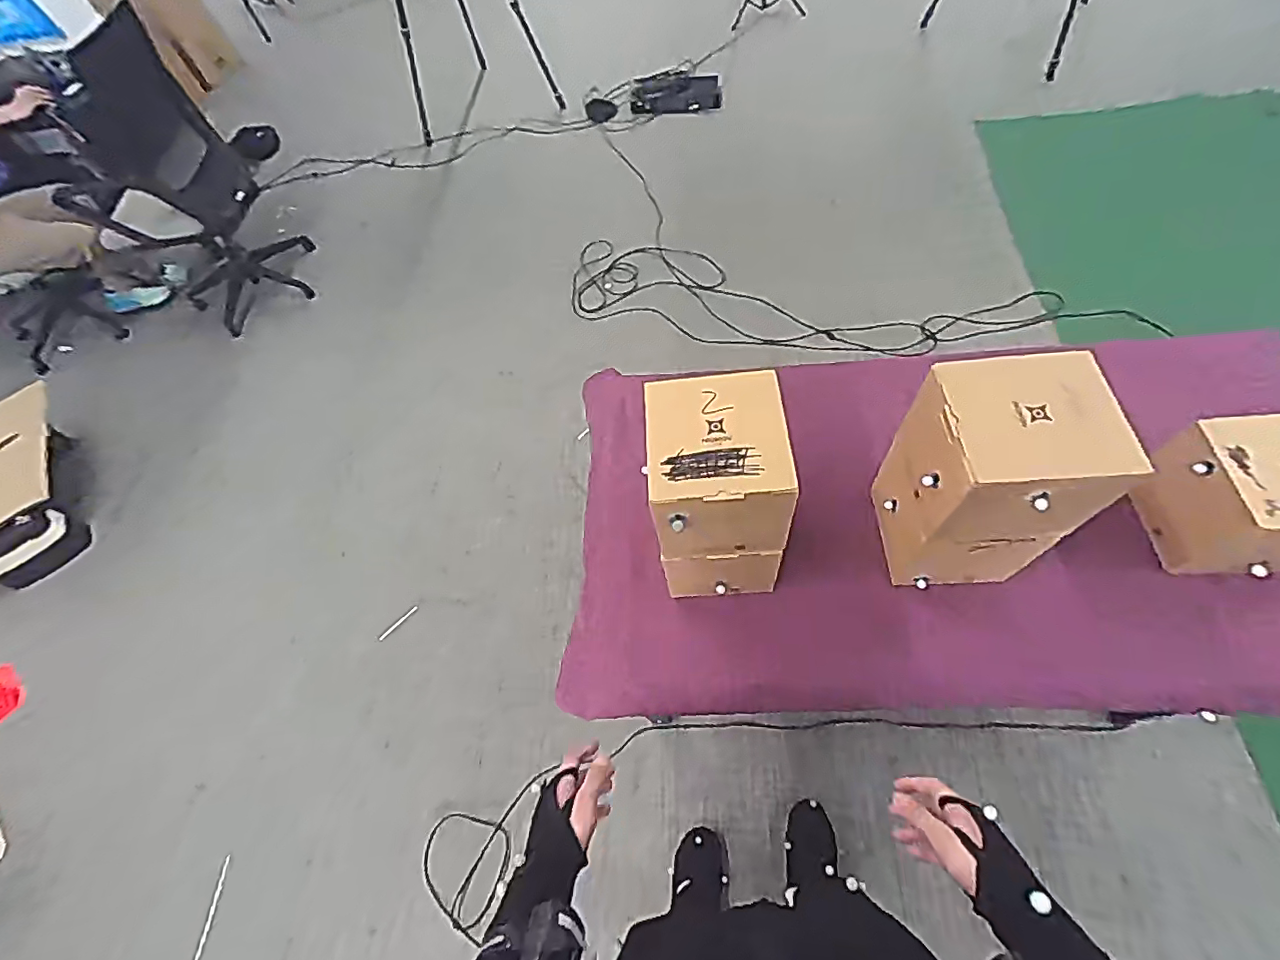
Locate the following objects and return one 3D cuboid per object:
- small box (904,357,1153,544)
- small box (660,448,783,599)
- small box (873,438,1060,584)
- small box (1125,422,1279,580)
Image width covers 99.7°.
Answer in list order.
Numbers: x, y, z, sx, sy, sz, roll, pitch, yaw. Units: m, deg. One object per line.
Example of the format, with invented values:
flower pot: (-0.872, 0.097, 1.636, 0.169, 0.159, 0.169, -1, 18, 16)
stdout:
small box: (0.443, -0.027, 0.660, 0.179, 0.176, 0.168, -3, 61, 6)
small box: (0.120, 0.071, 0.838, 0.168, 0.176, 0.179, -4, 60, 6)
small box: (0.464, 0.050, 0.802, 0.168, 0.176, 0.179, -3, 59, 6)
small box: (0.851, 0.035, 0.755, 0.179, 0.176, 0.168, -2, 60, 7)
